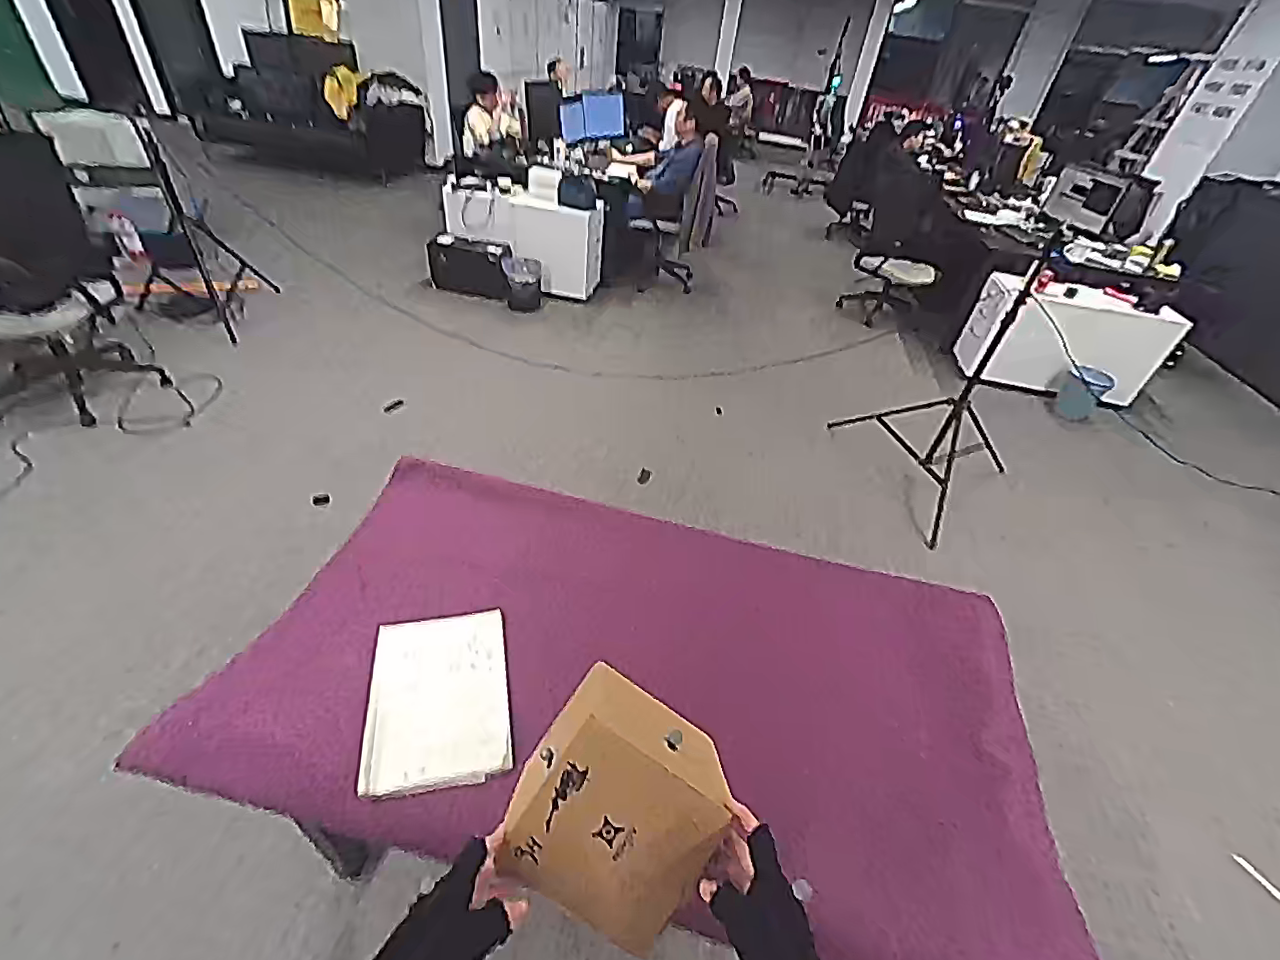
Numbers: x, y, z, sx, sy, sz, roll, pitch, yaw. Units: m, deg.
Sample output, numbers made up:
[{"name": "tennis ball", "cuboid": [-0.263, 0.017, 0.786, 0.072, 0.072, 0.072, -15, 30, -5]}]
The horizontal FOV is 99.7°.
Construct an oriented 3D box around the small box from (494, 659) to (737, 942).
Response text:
[{"name": "small box", "cuboid": [-0.024, 0.324, 0.590, 0.179, 0.168, 0.176, 34, -3, 0]}]
